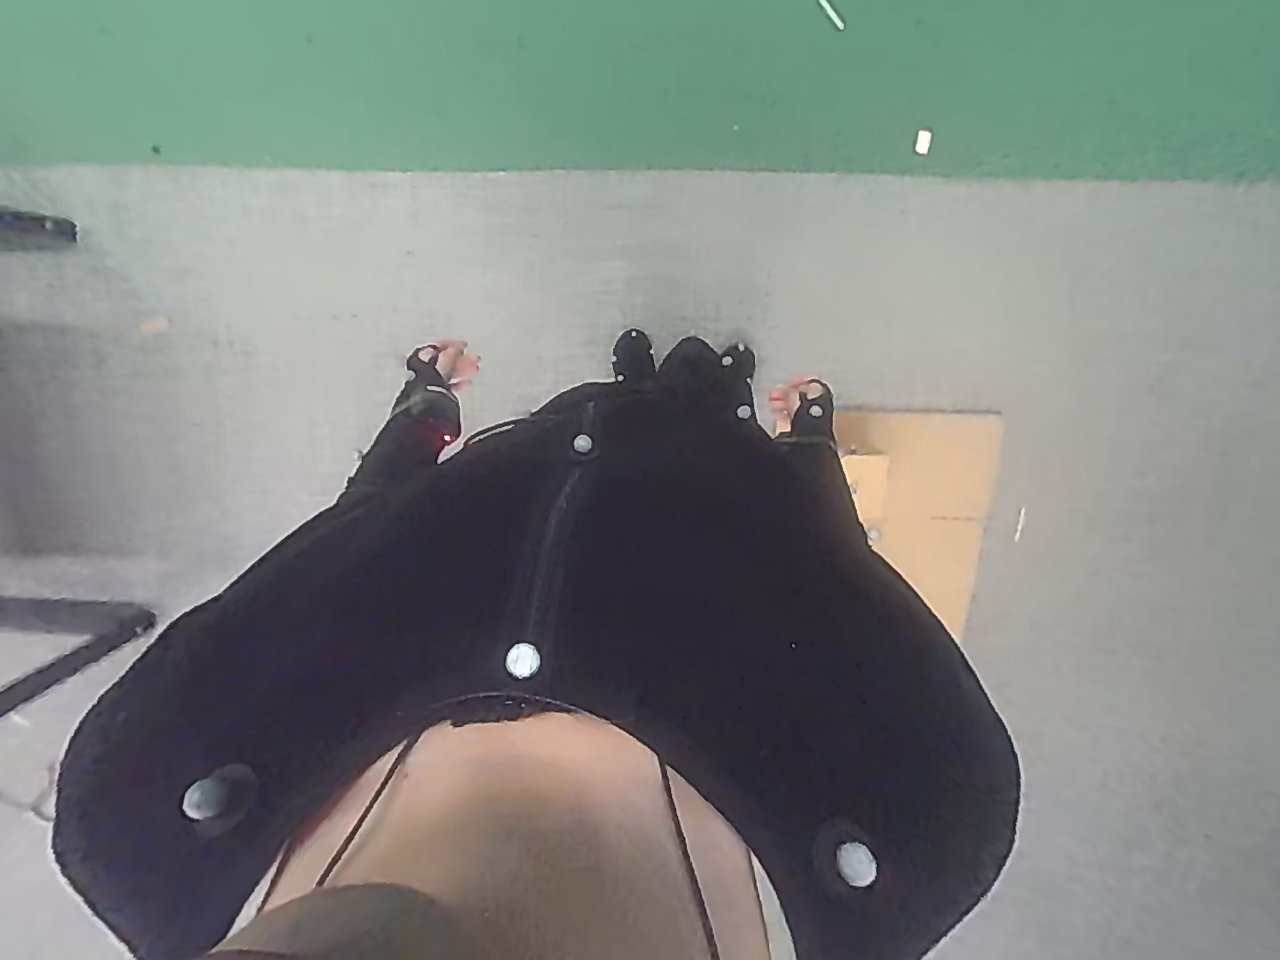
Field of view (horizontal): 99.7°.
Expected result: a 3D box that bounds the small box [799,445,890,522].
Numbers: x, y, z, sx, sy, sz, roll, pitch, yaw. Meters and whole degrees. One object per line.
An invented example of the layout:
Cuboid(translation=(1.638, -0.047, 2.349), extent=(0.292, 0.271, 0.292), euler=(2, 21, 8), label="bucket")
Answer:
Cuboid(translation=(0.523, 0.005, 1.410), extent=(0.179, 0.176, 0.168), euler=(0, 105, 1), label="small box")
